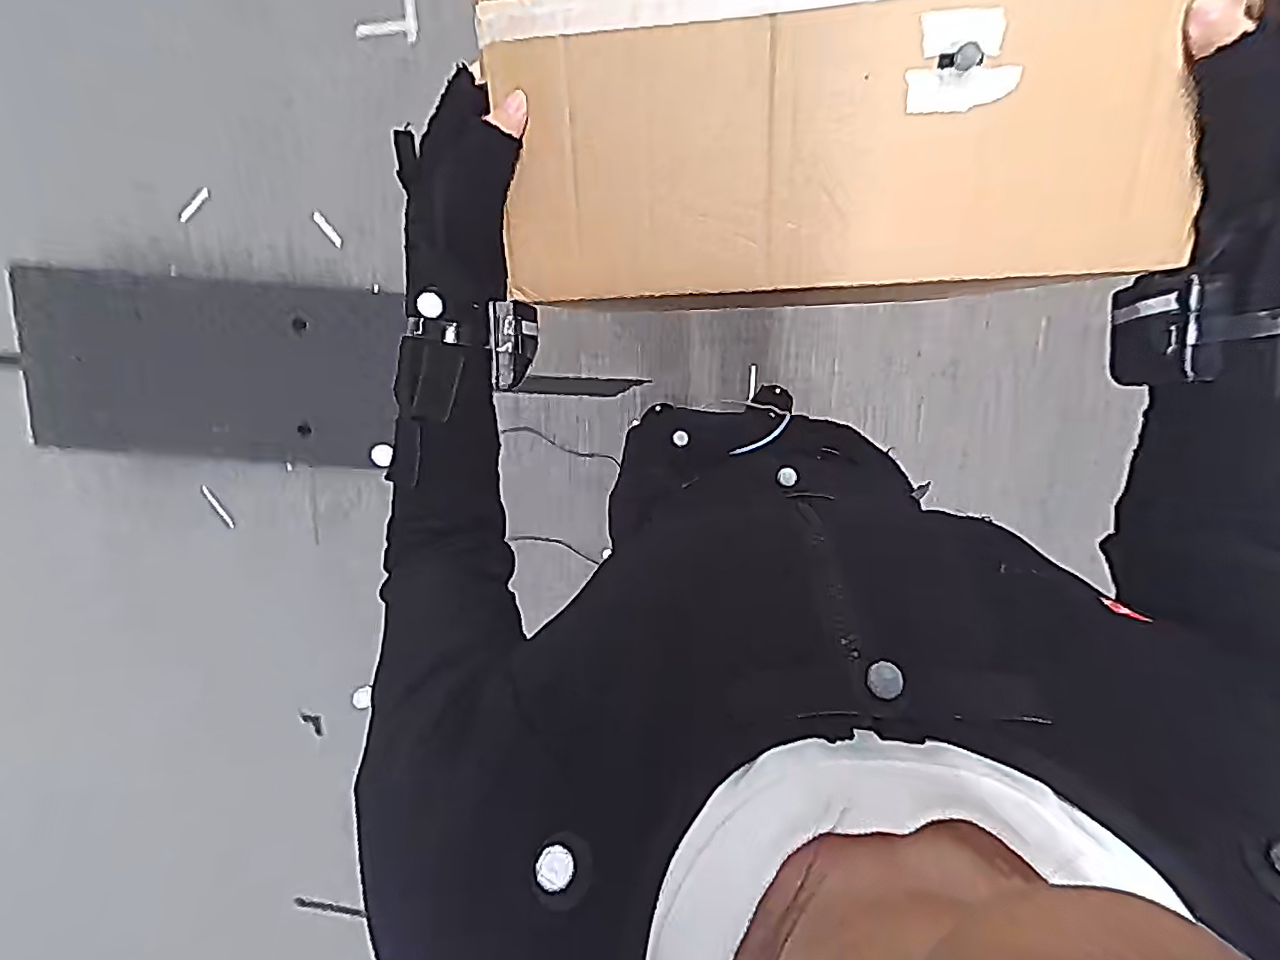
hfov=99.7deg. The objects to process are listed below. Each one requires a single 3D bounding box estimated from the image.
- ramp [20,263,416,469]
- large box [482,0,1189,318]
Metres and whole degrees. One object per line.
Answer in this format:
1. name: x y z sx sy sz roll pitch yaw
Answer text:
1. ramp: -1.127 -0.301 1.485 0.991 0.206 0.509 4 100 6
2. large box: 0.114 -0.316 0.456 0.408 0.320 0.320 -2 106 6
